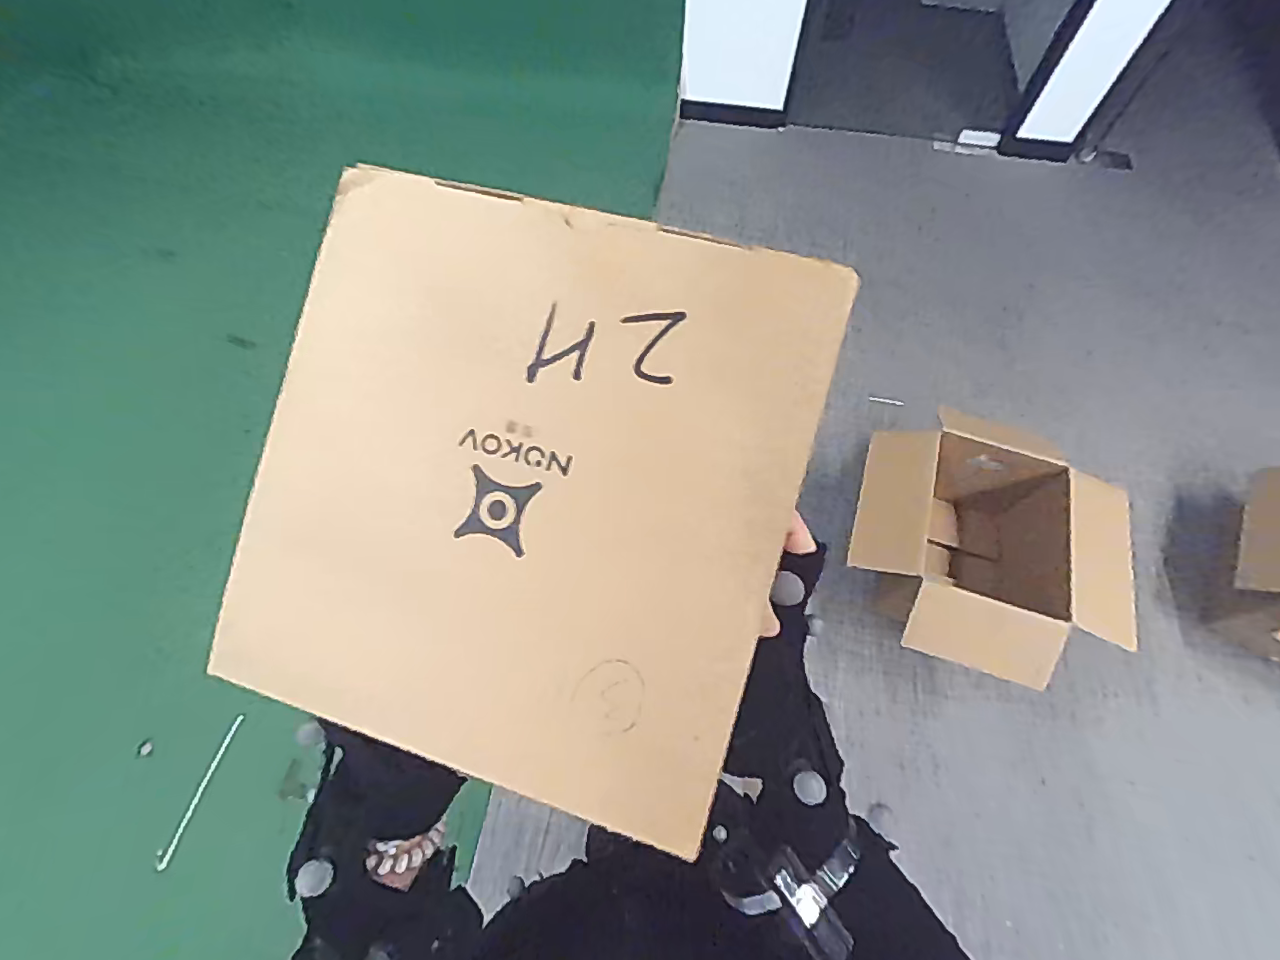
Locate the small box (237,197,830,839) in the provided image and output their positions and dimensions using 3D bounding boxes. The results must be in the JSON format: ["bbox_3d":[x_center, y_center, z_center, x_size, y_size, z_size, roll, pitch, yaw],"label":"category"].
[{"bbox_3d":[-0.028,0.009,0.254,0.168,0.176,0.179,15,89,9],"label":"small box"}]
